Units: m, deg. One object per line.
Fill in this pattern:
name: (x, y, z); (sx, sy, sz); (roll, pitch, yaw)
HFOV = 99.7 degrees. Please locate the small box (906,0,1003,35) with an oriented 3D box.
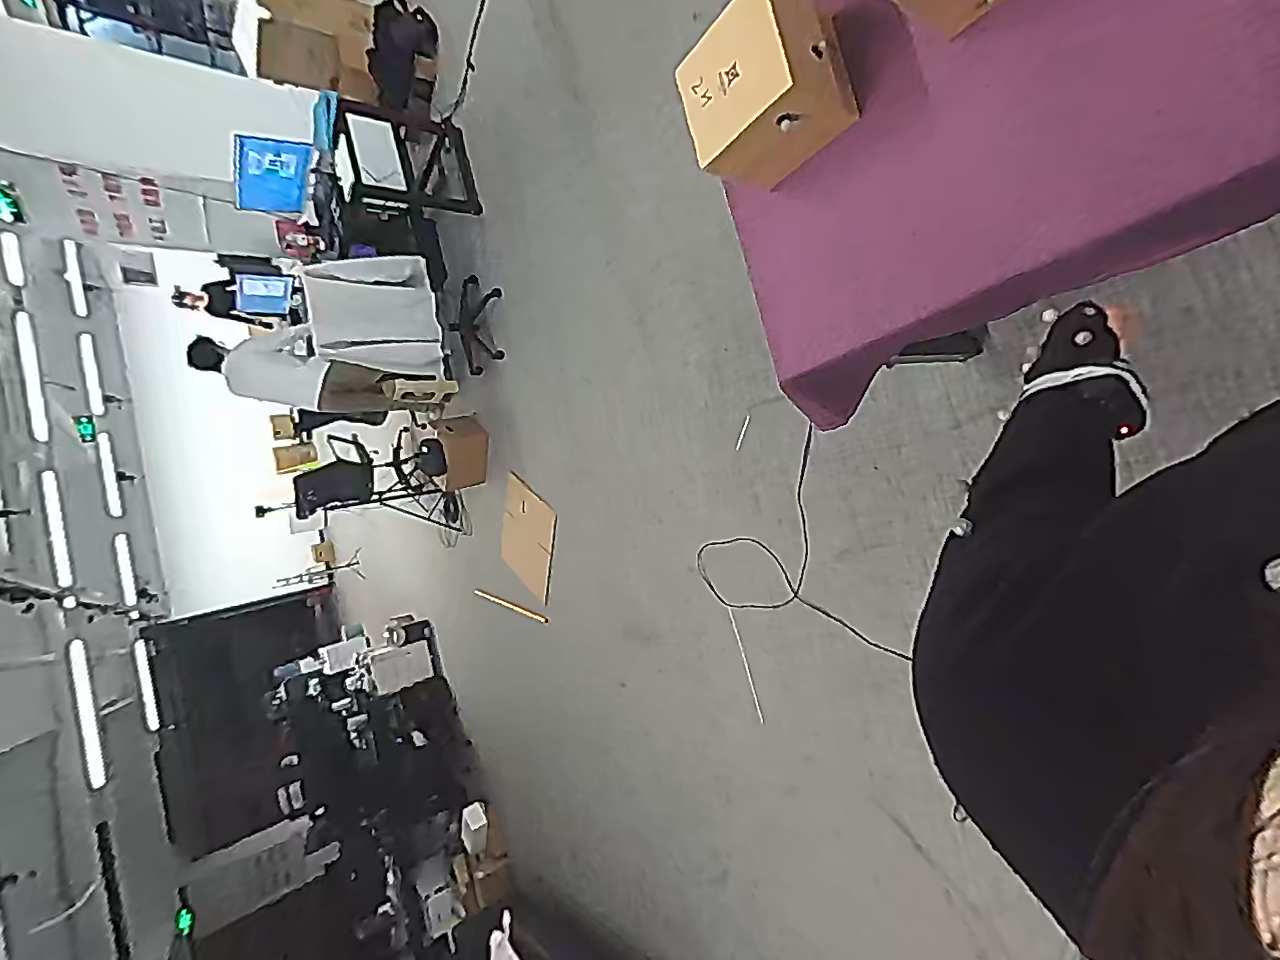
small box: (0.360, -0.647, 0.587); (0.168, 0.176, 0.179); (-18, 85, 53)

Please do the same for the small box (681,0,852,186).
small box: (0.195, -0.580, 0.813); (0.179, 0.176, 0.168); (-18, 84, 52)
